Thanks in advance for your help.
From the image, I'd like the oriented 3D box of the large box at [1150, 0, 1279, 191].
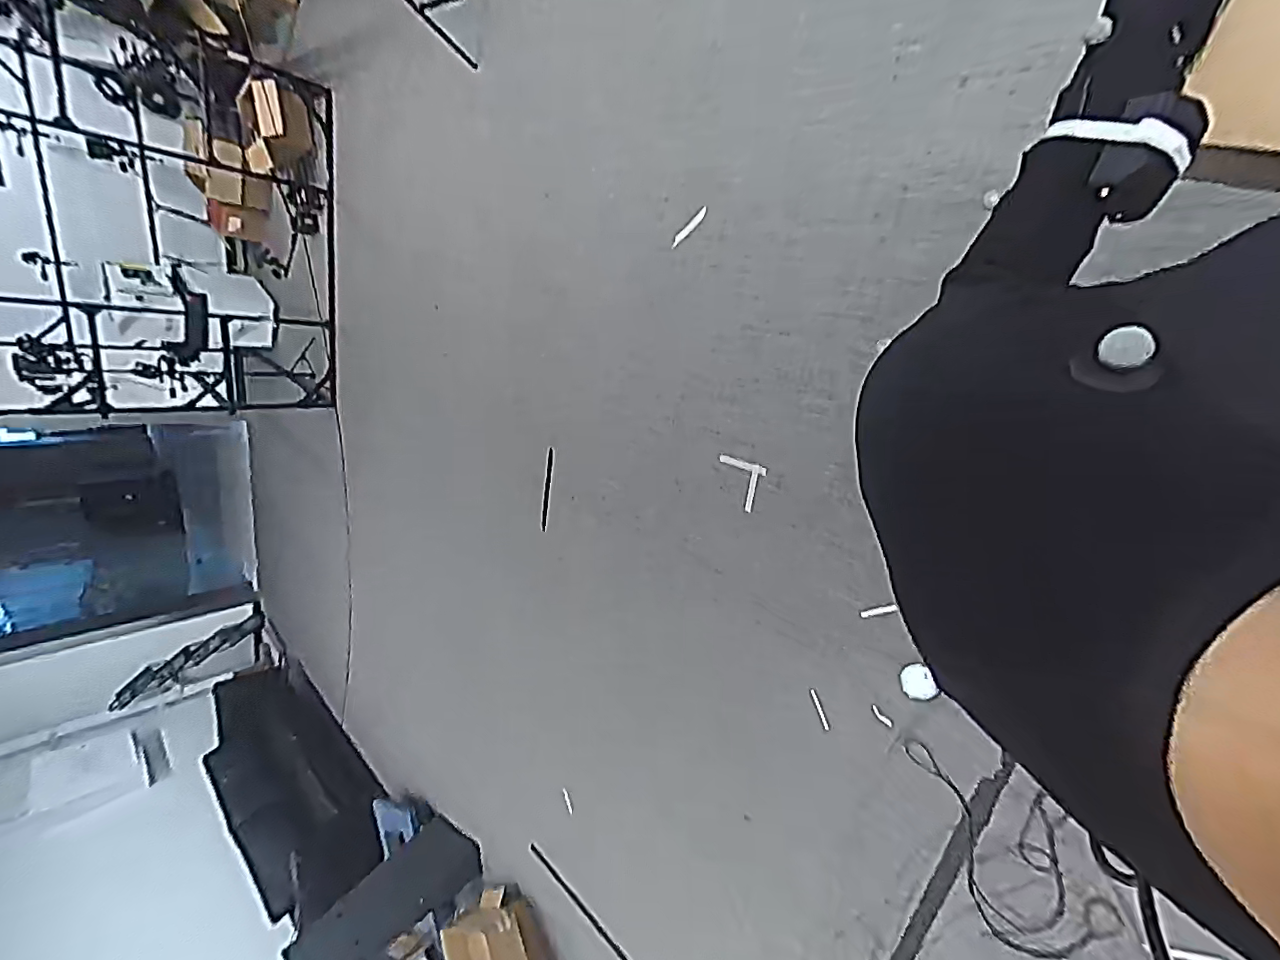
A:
[{"bbox_3d":[0.649,-0.350,0.336,0.408,0.320,0.320,30,127,31],"label":"large box"}]
